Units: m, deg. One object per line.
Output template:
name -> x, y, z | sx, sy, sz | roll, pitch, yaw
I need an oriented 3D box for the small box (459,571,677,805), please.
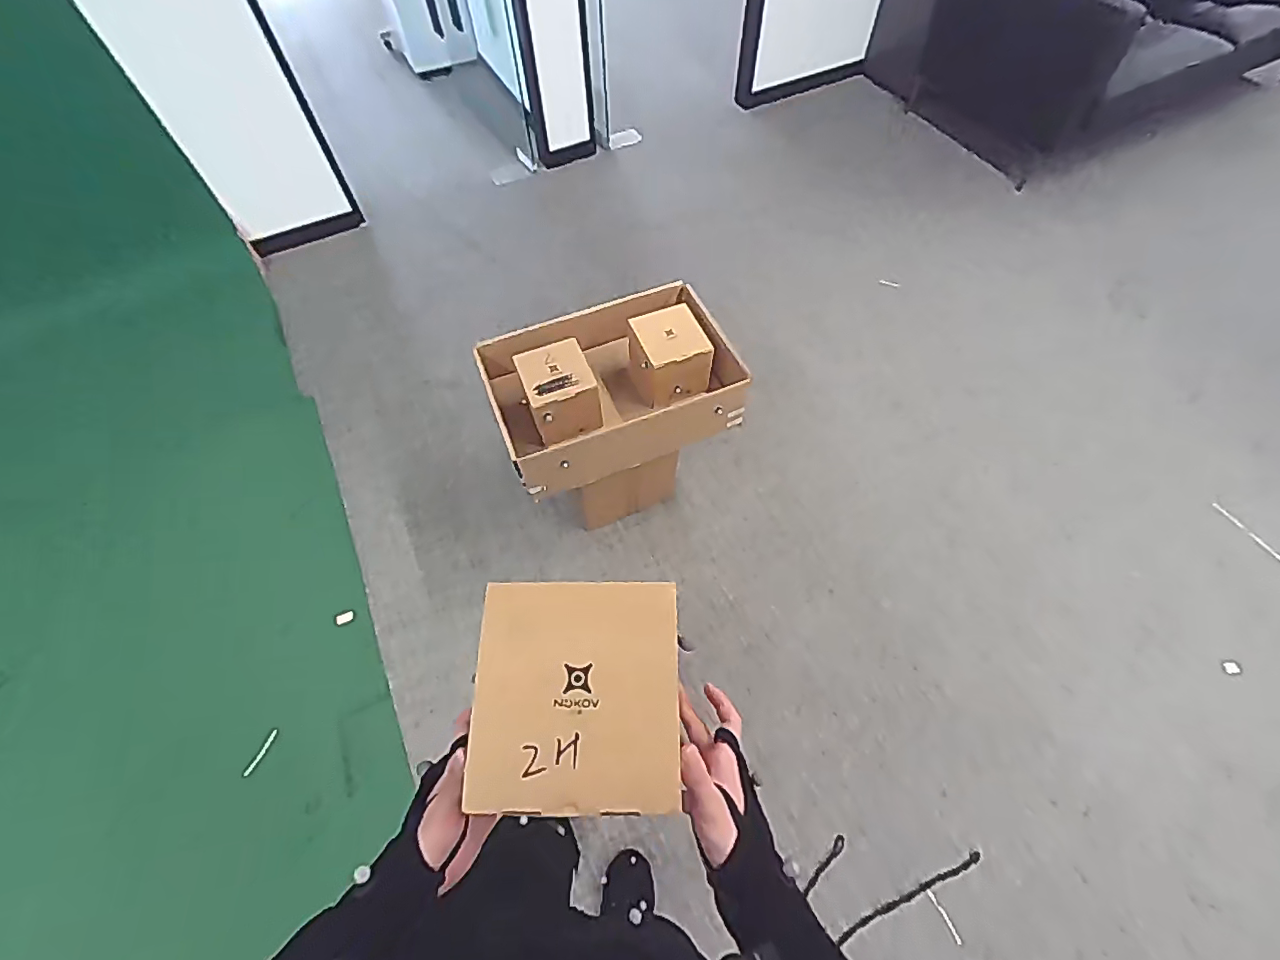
small box -> -0.050, 0.192, 0.507 | 0.168, 0.176, 0.179 | 0, 67, 3

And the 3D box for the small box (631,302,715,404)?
small box -> 0.080, -0.332, 1.428 | 0.168, 0.176, 0.179 | -20, 63, -10
